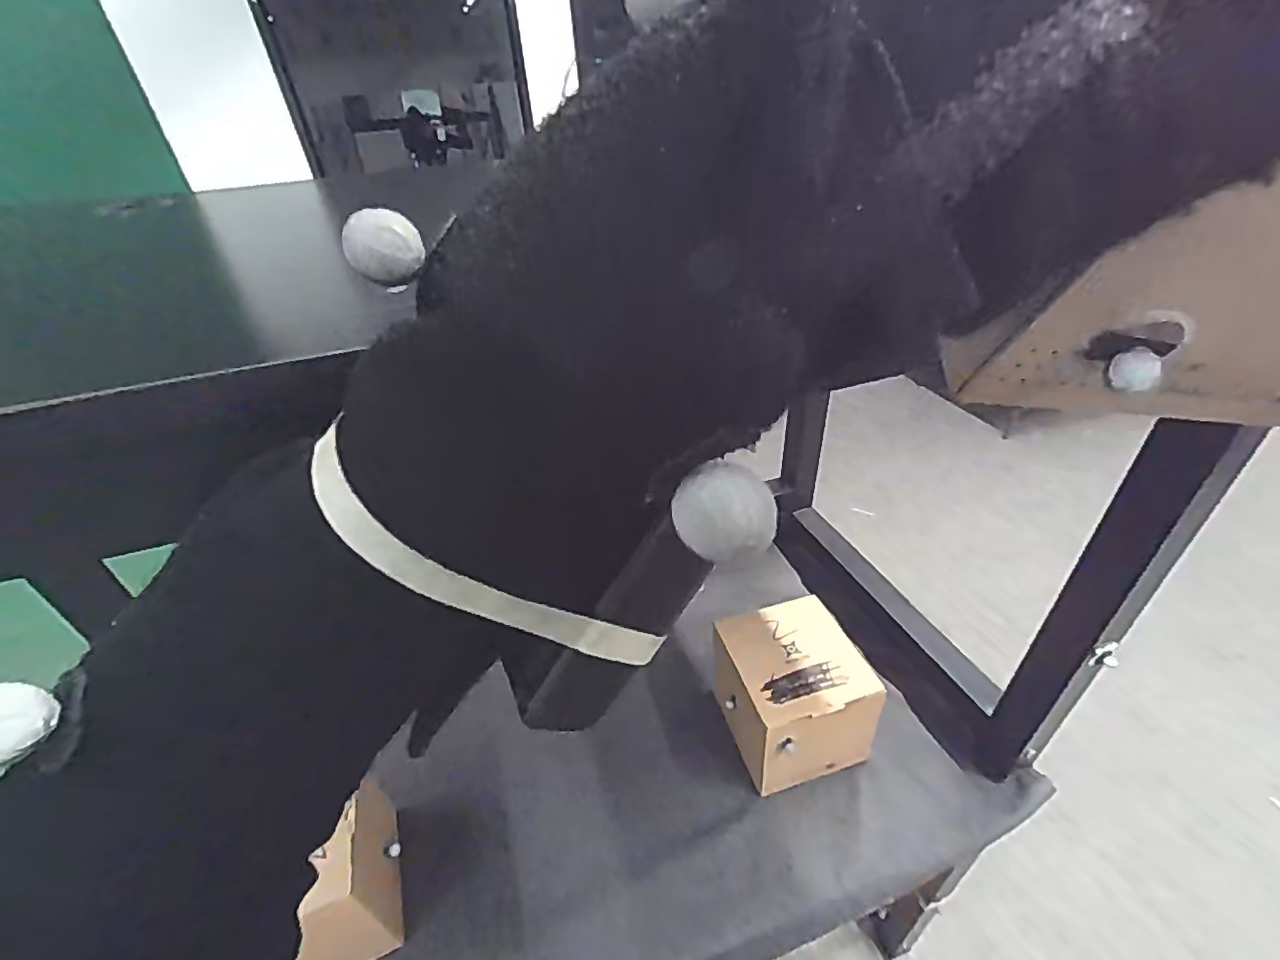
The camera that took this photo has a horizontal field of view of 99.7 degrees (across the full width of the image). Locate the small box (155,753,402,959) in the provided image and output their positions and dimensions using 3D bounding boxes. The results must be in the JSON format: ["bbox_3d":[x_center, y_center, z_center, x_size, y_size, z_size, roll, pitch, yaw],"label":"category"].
[{"bbox_3d":[-0.395,0.464,0.624,0.179,0.176,0.168,-16,37,-17],"label":"small box"}]
